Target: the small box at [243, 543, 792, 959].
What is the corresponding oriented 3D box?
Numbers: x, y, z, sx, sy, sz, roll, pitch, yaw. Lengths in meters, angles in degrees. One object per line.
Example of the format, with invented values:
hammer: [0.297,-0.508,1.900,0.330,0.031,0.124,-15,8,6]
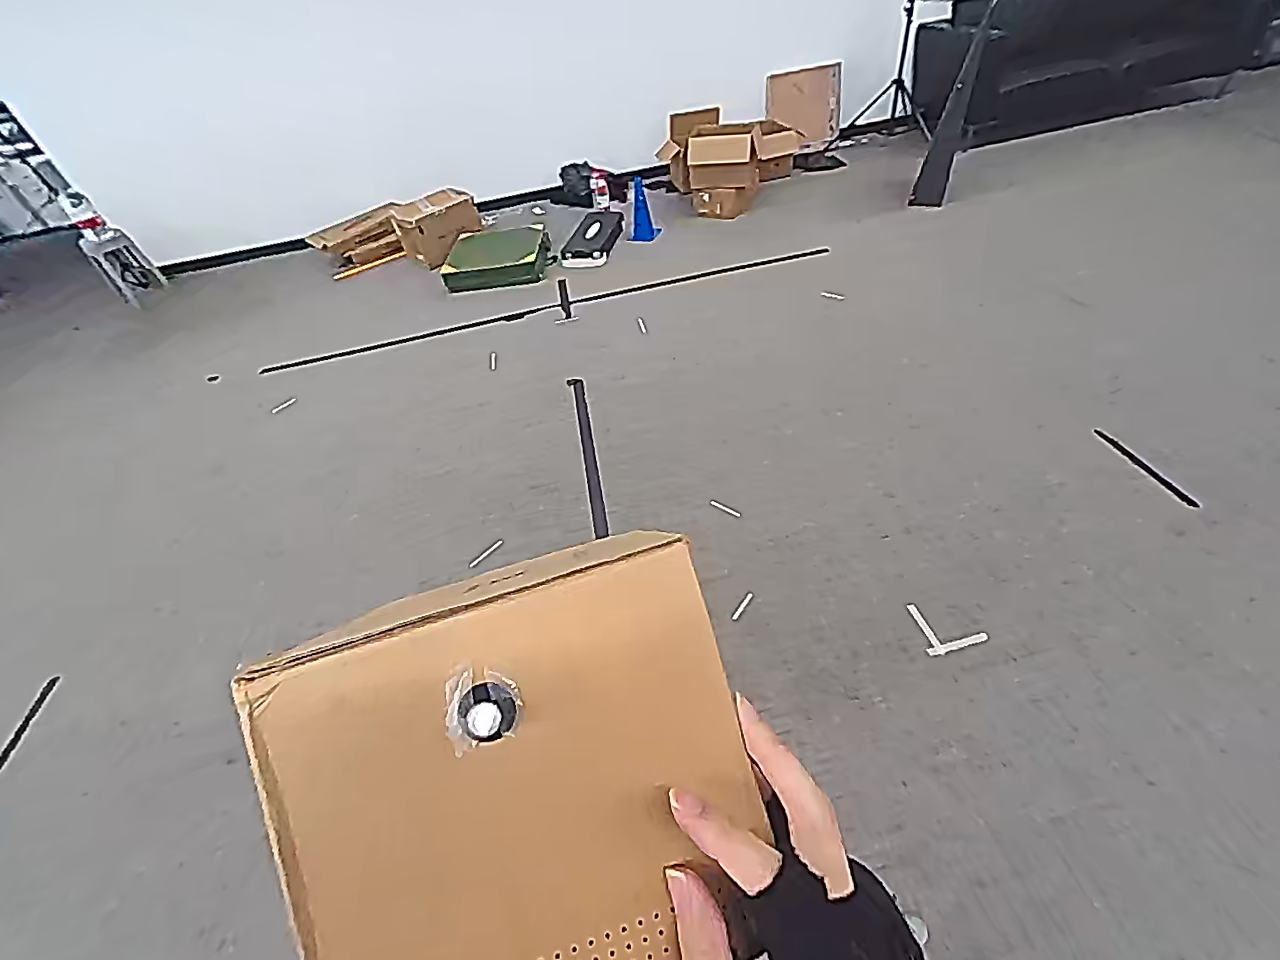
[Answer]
small box: [-0.050,0.139,0.281,0.179,0.168,0.176,-16,88,-8]
